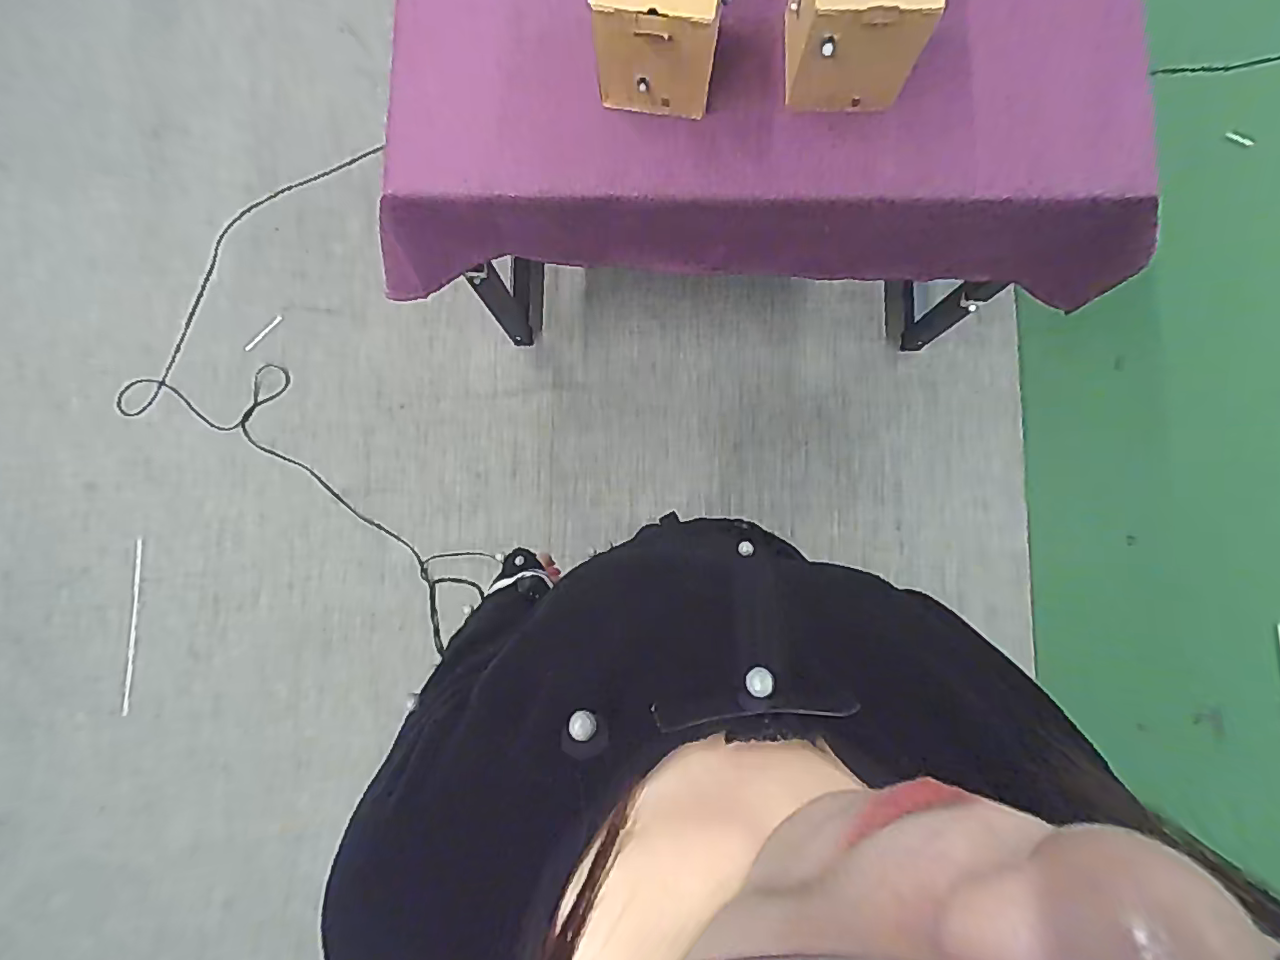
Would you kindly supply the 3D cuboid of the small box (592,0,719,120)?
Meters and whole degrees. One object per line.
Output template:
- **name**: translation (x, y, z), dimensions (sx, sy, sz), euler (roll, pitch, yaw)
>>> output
- **small box**: translation (0.029, -0.689, 0.807), dimensions (0.168, 0.176, 0.179), euler (9, 85, 2)
